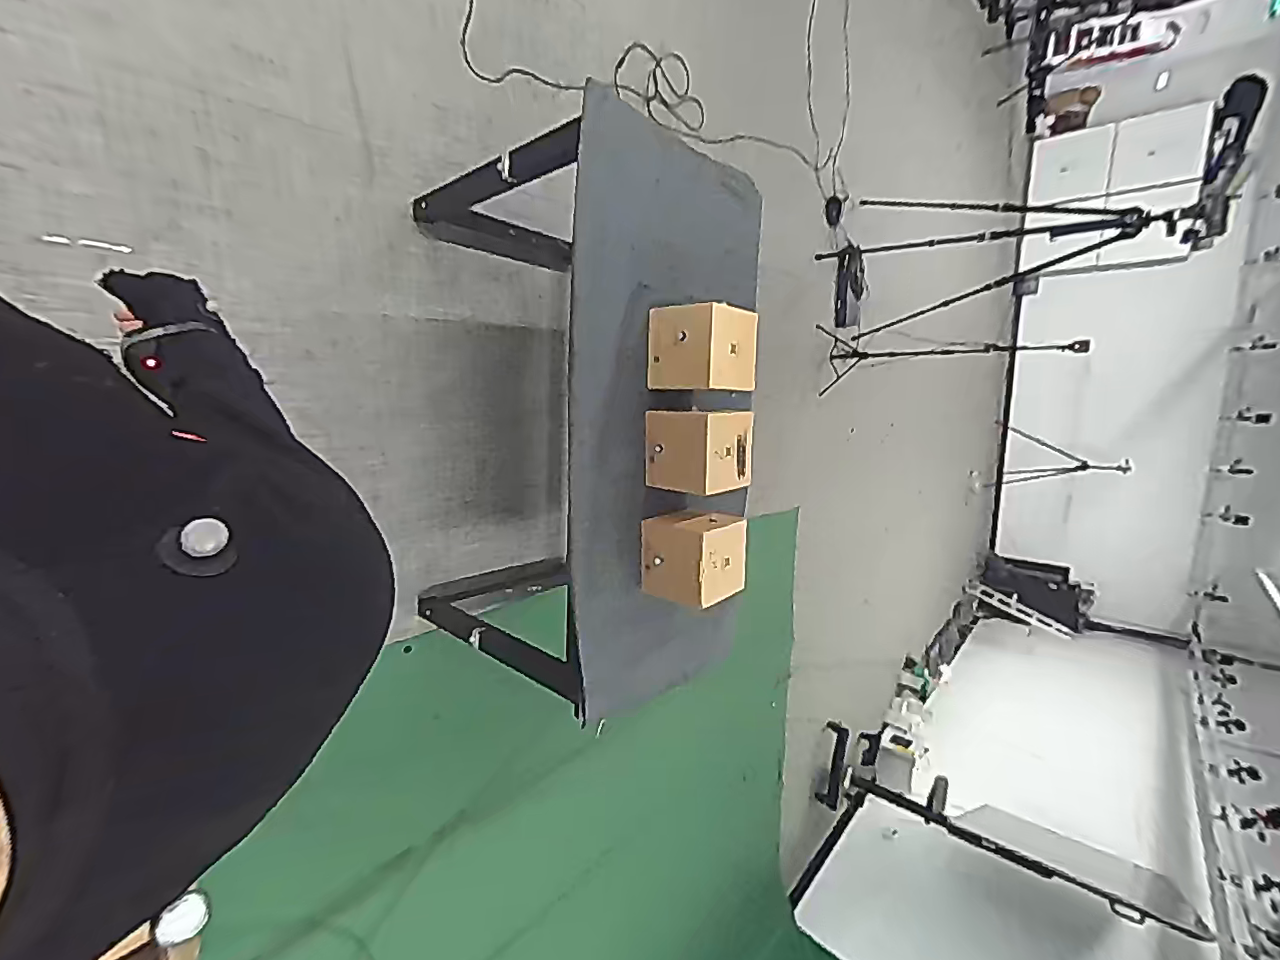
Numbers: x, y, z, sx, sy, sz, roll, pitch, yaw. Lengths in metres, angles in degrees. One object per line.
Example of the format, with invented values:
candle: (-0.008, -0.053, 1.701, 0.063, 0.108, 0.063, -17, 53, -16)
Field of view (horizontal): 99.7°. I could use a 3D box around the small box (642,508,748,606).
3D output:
small box: (0.123, 0.164, 1.219, 0.179, 0.176, 0.168, -9, 103, -48)
